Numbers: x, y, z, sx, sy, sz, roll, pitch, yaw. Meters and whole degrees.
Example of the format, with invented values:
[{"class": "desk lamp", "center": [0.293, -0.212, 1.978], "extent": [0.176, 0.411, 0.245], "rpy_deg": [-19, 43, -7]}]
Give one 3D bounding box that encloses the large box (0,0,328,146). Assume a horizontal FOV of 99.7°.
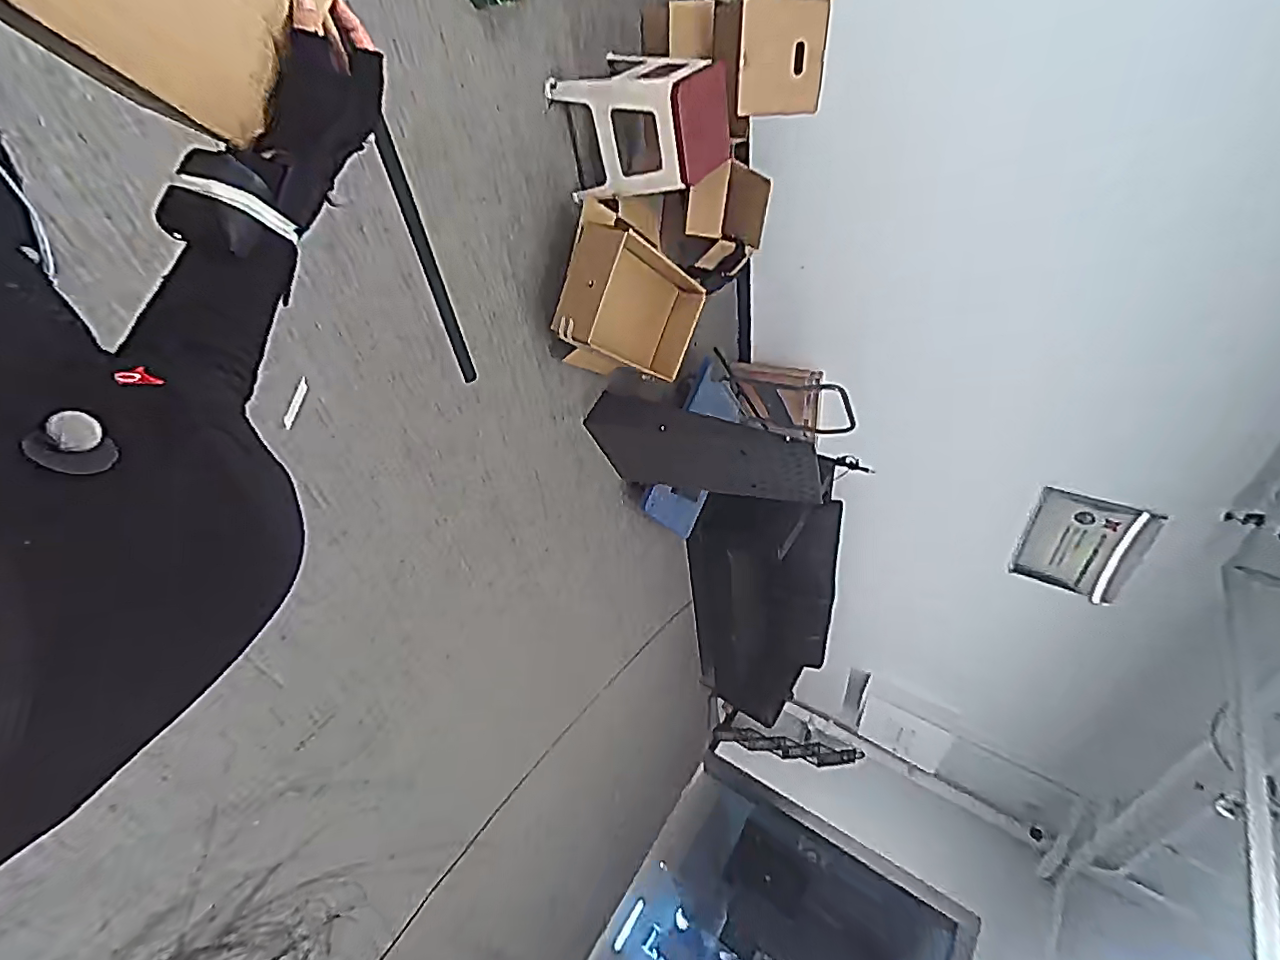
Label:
[{"class": "large box", "center": [-0.441, -0.503, 0.328], "extent": [0.320, 0.320, 0.408], "rpy_deg": [-59, 151, 5]}]
